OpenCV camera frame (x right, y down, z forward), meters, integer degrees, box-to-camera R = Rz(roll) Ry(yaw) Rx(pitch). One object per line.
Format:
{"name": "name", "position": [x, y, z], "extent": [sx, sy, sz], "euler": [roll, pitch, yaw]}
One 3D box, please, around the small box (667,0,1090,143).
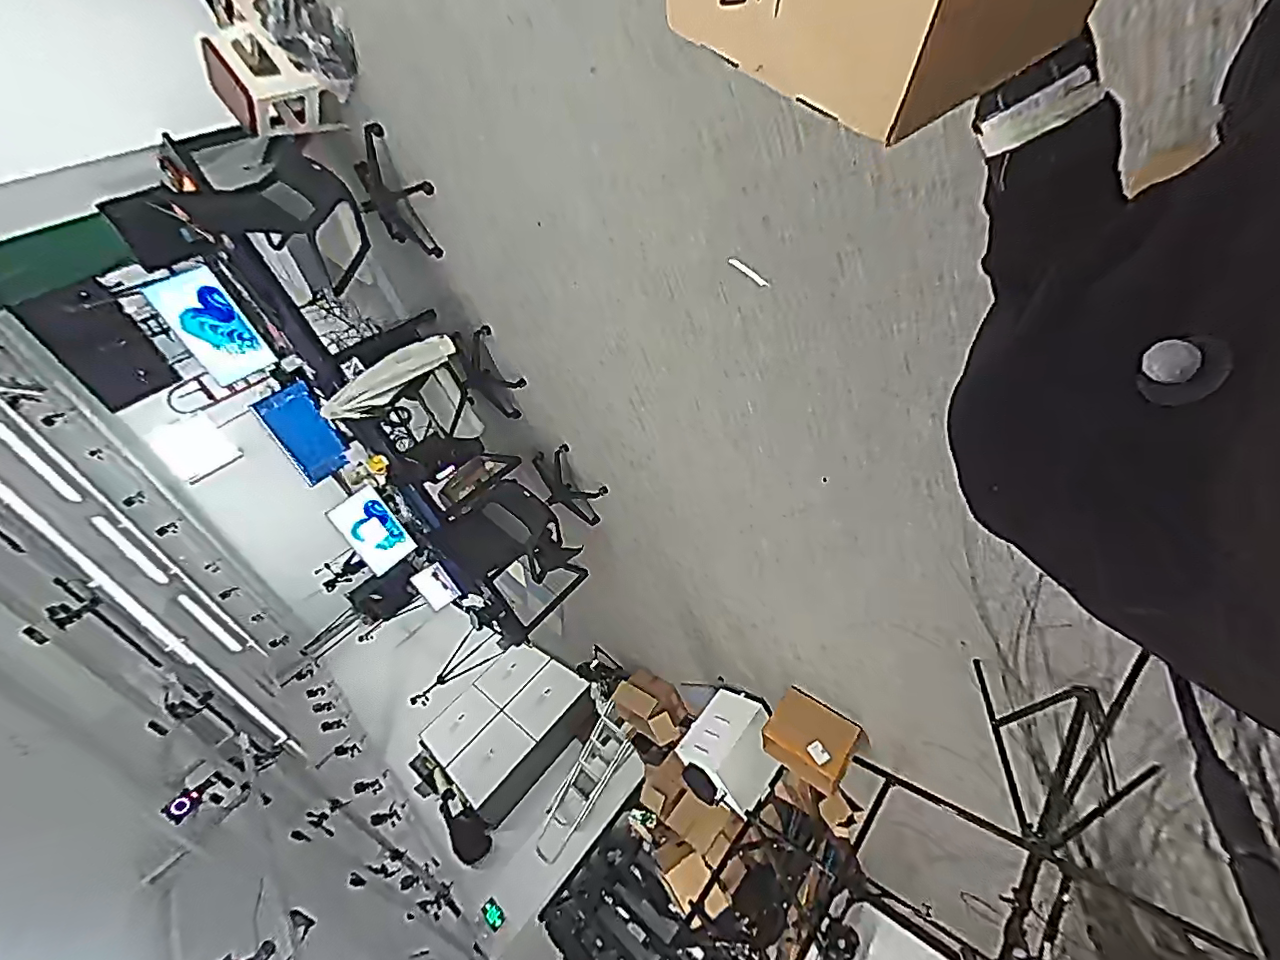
{"name": "small box", "position": [0.129, -0.302, 0.237], "extent": [0.168, 0.176, 0.179], "euler": [47, 163, 23]}

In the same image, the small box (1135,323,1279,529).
{"name": "small box", "position": [0.686, -0.064, 0.600], "extent": [0.179, 0.176, 0.168], "euler": [9, 133, 50]}
